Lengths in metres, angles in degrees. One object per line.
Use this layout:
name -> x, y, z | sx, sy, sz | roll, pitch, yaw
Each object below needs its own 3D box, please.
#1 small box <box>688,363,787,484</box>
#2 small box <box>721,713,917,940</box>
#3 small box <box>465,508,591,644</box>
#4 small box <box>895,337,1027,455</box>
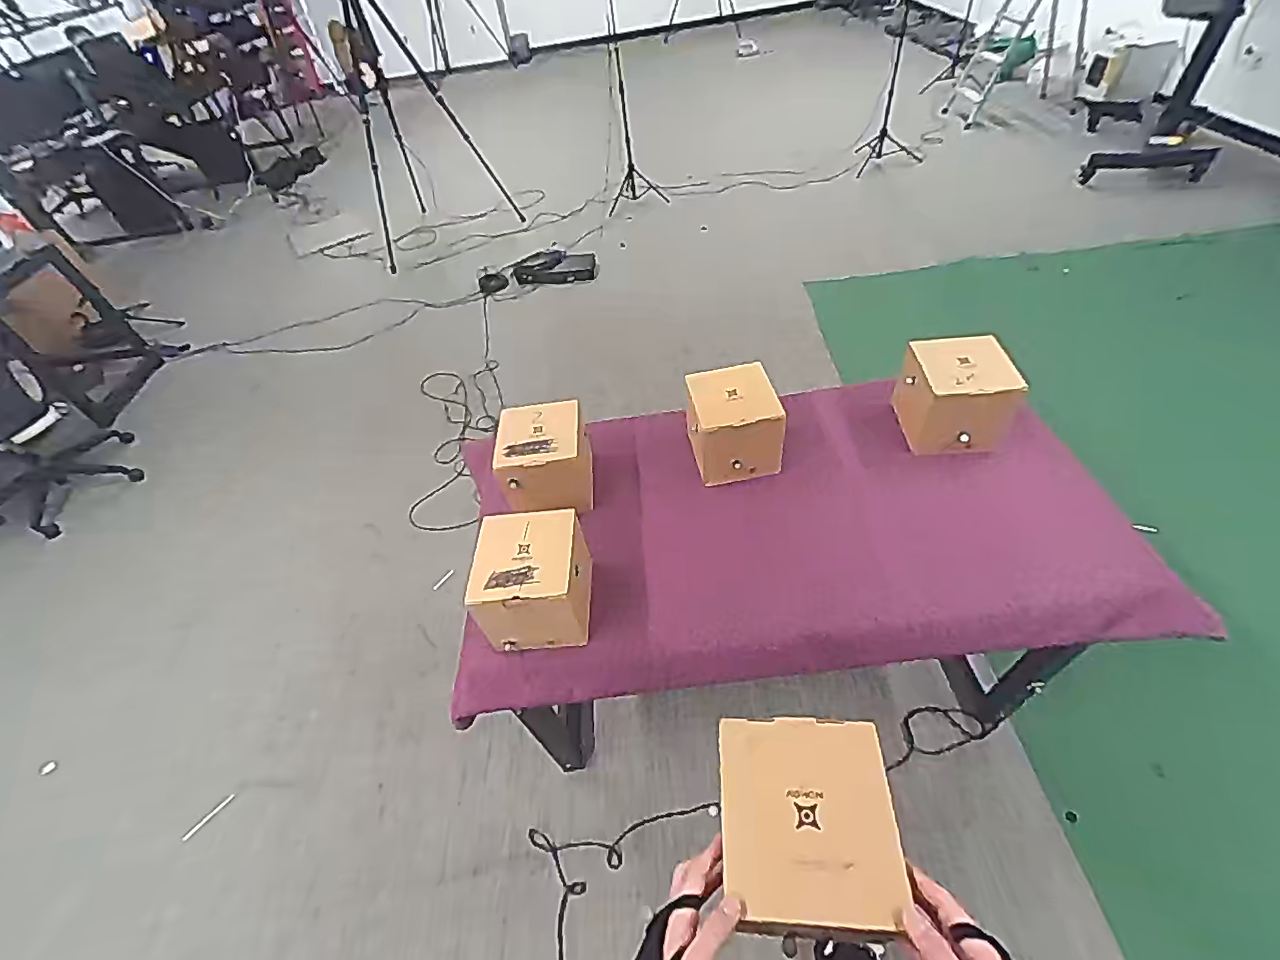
small box -> 0.197, -0.118, 1.141 | 0.168, 0.176, 0.179 | -10, 49, -1
small box -> 0.172, 0.374, 0.586 | 0.168, 0.176, 0.179 | -2, 48, 8
small box -> -0.181, 0.172, 0.938 | 0.168, 0.176, 0.179 | -5, 47, 4
small box -> 0.646, -0.171, 1.116 | 0.168, 0.176, 0.179 | -3, 49, 7
